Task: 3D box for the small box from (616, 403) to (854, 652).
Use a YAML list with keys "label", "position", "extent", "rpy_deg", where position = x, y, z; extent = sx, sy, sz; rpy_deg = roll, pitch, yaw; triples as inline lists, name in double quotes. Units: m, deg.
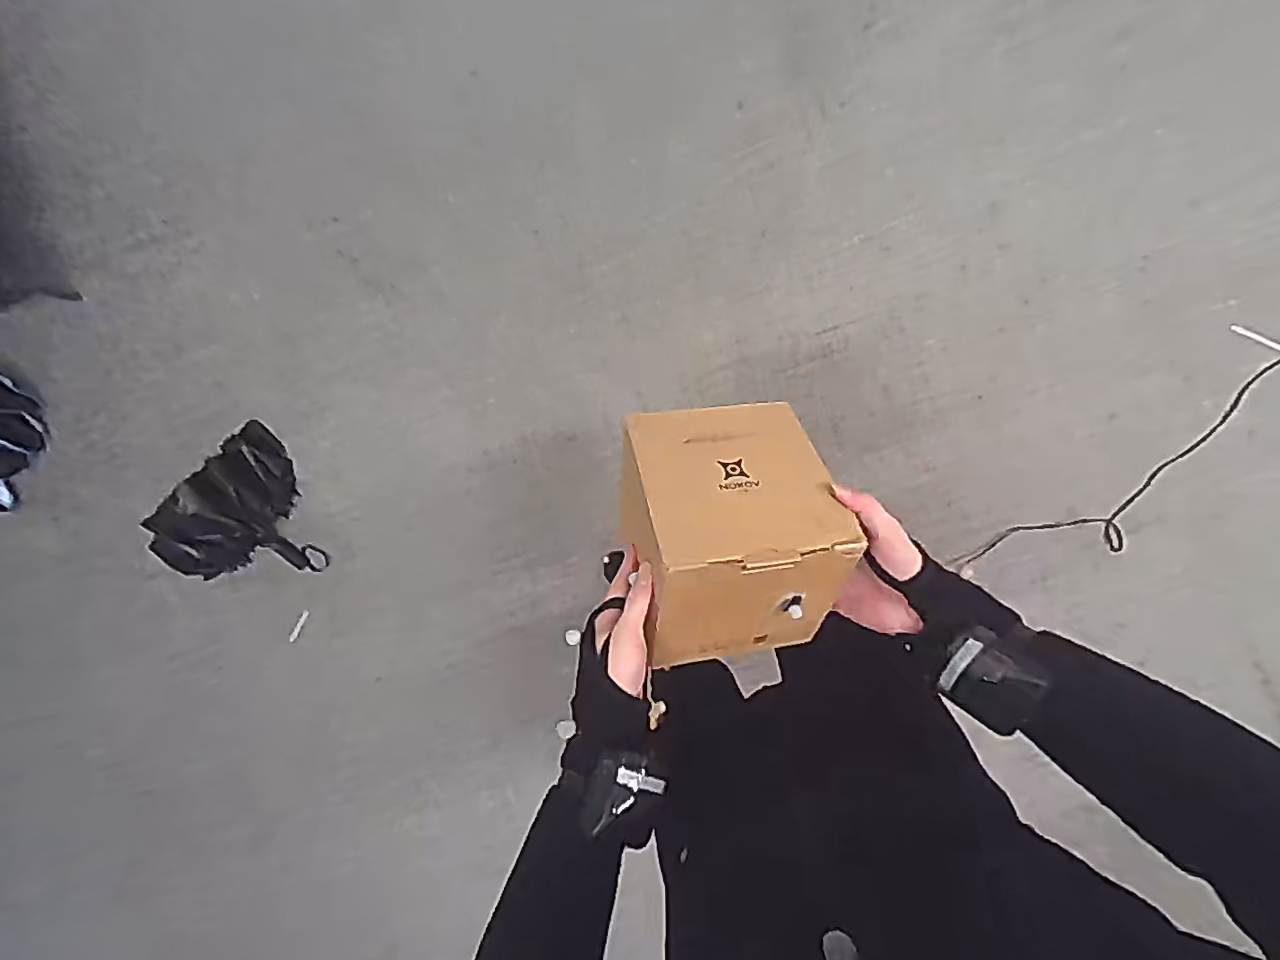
- label: "small box"
  position: [0.071, 0.050, 0.525]
  extent: [0.168, 0.179, 0.176]
  rpy_deg: [-7, 137, -10]
